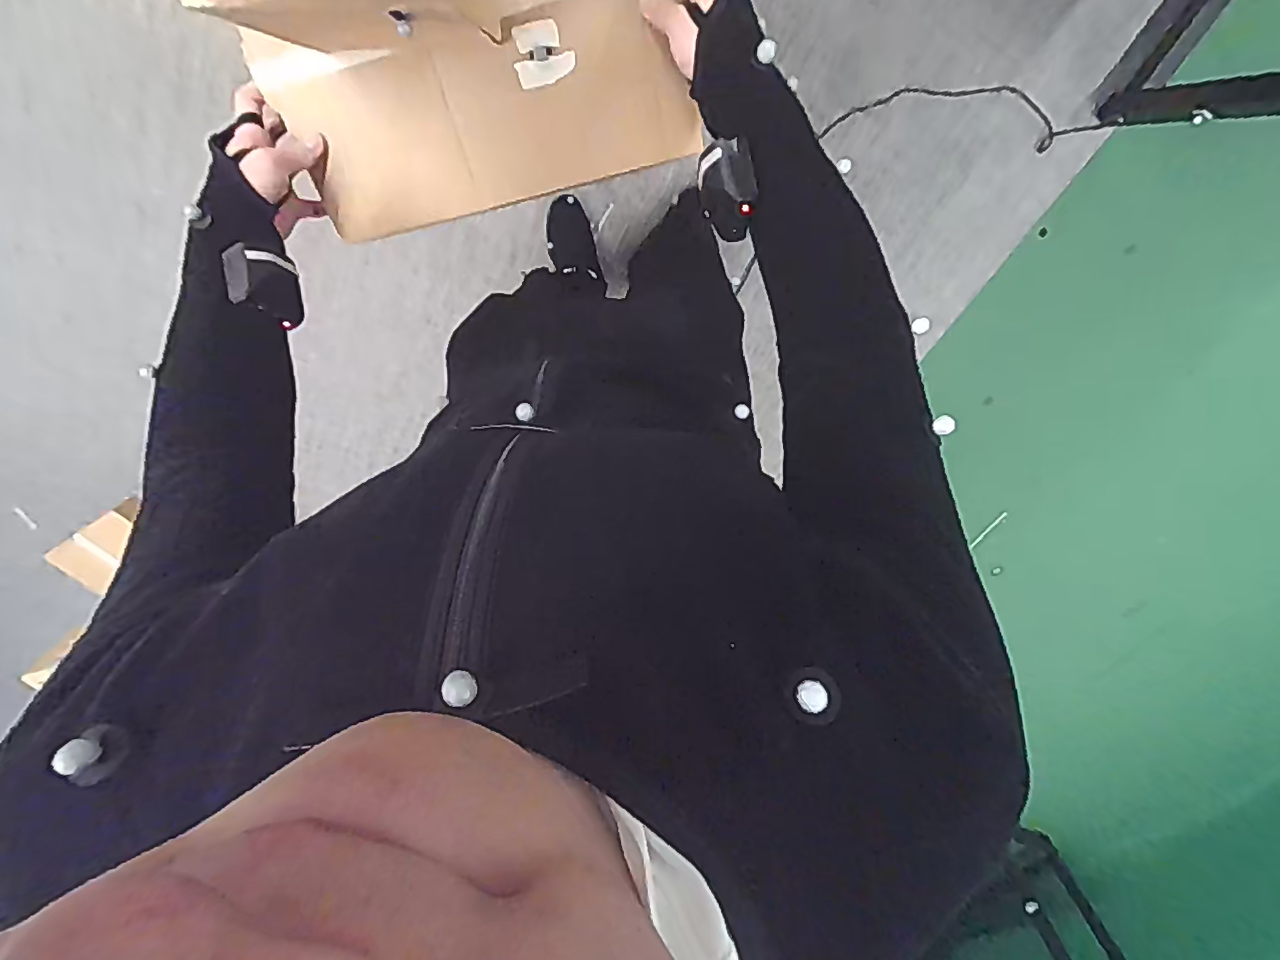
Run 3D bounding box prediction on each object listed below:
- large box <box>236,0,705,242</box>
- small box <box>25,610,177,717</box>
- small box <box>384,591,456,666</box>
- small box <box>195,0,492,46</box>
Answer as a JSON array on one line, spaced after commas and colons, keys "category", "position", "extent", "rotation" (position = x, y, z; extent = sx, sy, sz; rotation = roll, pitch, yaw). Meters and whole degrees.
[{"category": "large box", "position": [-0.165, -0.503, 0.613], "extent": [0.408, 0.320, 0.320], "rotation": [-12, 122, 7]}, {"category": "small box", "position": [-1.350, 0.462, 1.371], "extent": [0.179, 0.176, 0.168], "rotation": [-20, 119, 8]}, {"category": "small box", "position": [-0.775, 0.519, 1.913], "extent": [0.179, 0.176, 0.168], "rotation": [21, 118, -13]}, {"category": "small box", "position": [-0.220, -0.422, 0.377], "extent": [0.179, 0.176, 0.168], "rotation": [-2, 121, 1]}]
